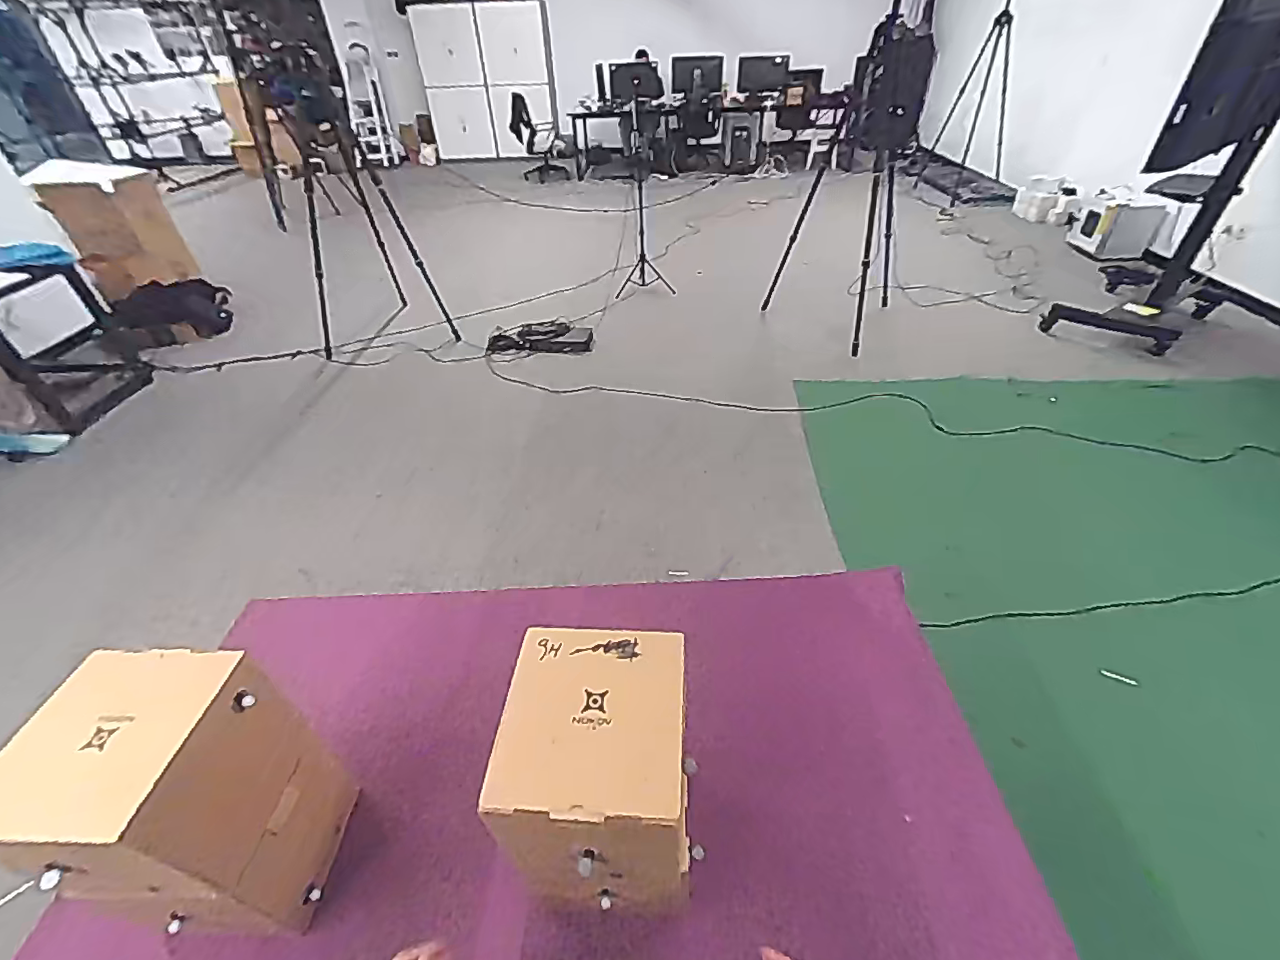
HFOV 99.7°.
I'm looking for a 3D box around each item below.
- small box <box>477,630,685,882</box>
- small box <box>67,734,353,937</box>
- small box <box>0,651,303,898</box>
[{"bbox_3d":[-0.041,0.276,0.544,0.168,0.176,0.179,2,40,5],"label":"small box"},{"bbox_3d":[-0.482,0.423,0.648,0.179,0.176,0.168,-2,39,2],"label":"small box"},{"bbox_3d":[-0.485,0.295,0.546,0.168,0.176,0.179,0,38,2],"label":"small box"}]
